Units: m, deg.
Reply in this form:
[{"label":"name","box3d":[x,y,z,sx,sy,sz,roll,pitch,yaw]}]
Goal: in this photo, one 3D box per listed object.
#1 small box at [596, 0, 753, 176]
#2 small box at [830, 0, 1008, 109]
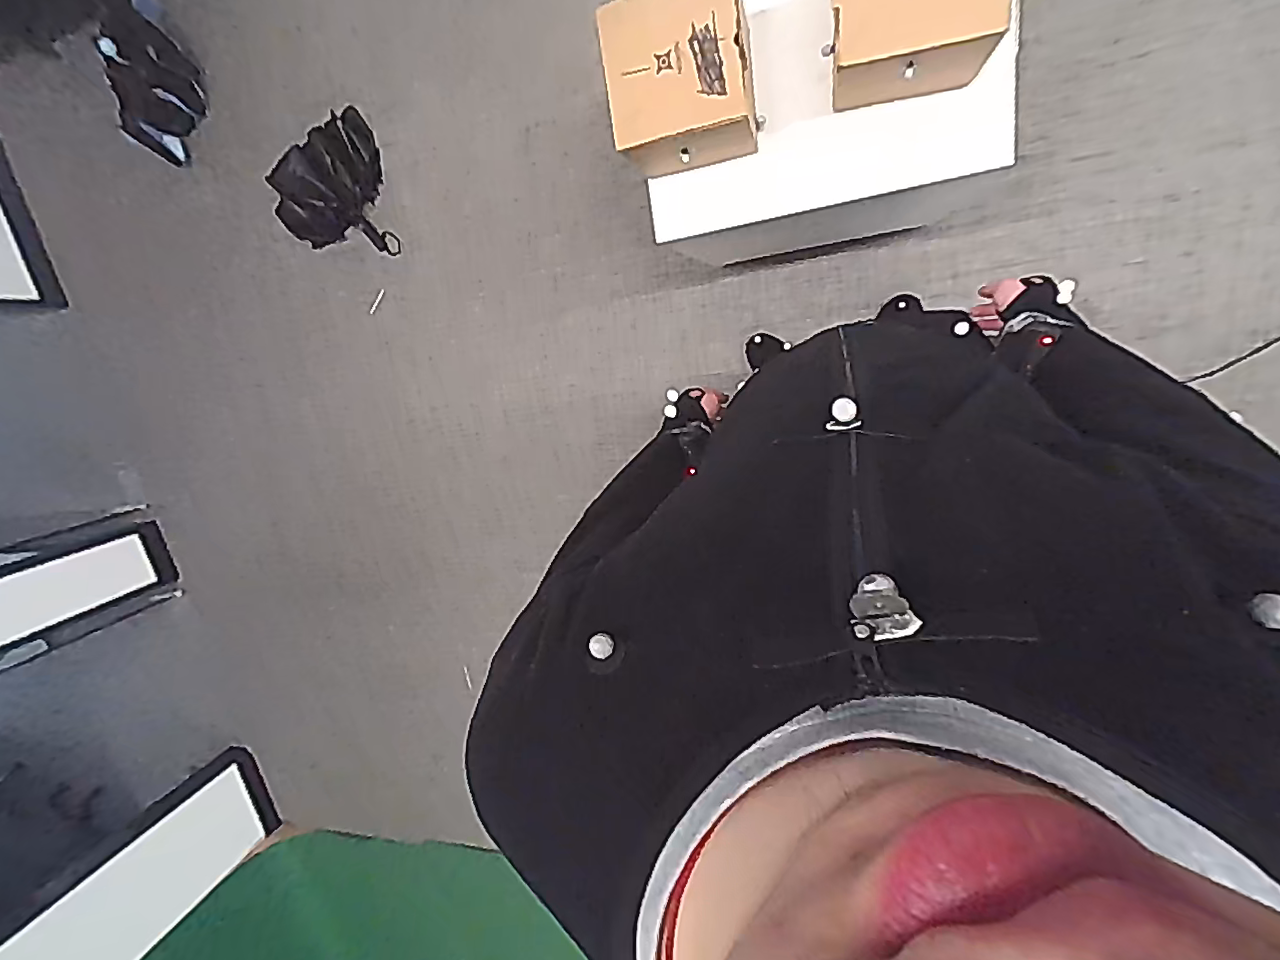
[{"label":"small box","box3d":[0.059,-0.541,0.743,0.179,0.176,0.168,-3,105,19]},{"label":"small box","box3d":[0.323,-0.577,0.650,0.179,0.176,0.168,0,108,17]}]
